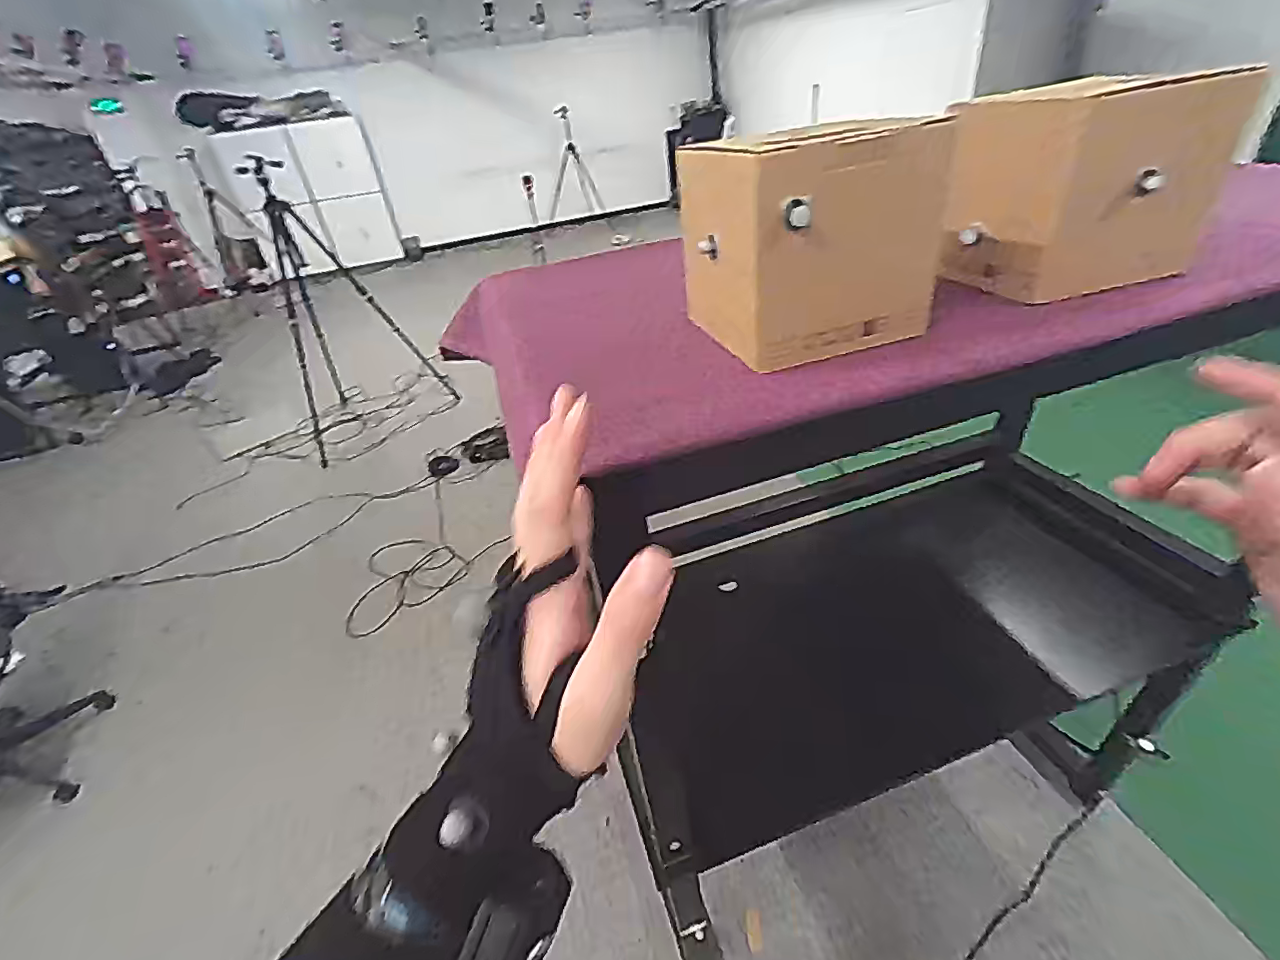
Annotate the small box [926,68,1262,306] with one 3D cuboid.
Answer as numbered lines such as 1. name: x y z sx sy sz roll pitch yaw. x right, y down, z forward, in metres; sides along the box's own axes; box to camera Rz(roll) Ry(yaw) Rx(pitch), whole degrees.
1. small box: 0.423 -0.293 0.545 0.179 0.176 0.168 -14 34 -5
